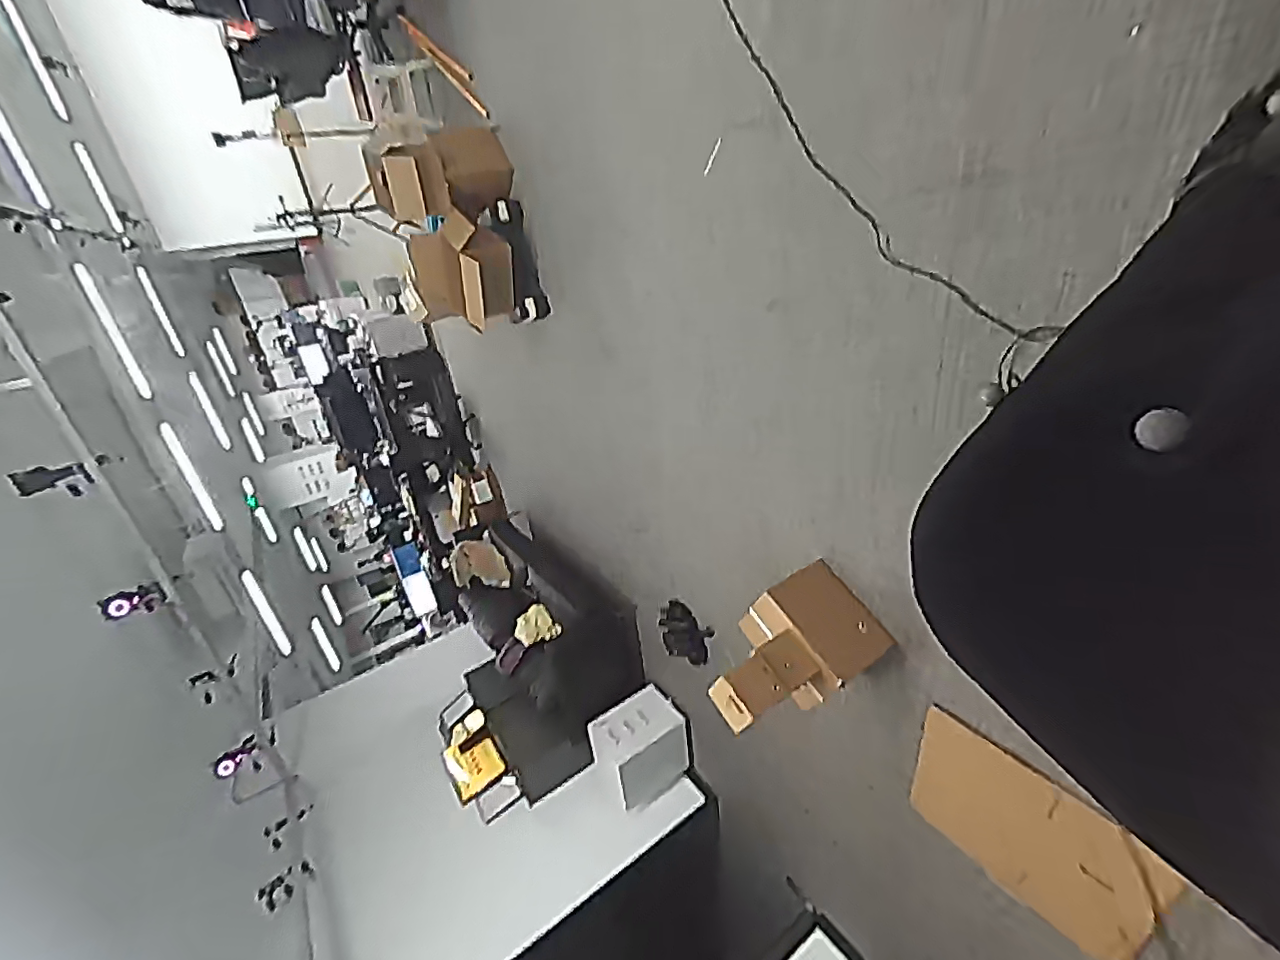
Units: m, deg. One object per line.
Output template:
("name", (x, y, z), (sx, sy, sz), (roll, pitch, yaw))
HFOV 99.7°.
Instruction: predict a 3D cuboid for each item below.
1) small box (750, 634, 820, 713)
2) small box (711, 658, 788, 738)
("small box", (0.508, 0.686, 1.927), (0.179, 0.176, 0.168), (50, 149, 32))
("small box", (0.375, 0.738, 1.839), (0.168, 0.176, 0.179), (53, 149, 27))
